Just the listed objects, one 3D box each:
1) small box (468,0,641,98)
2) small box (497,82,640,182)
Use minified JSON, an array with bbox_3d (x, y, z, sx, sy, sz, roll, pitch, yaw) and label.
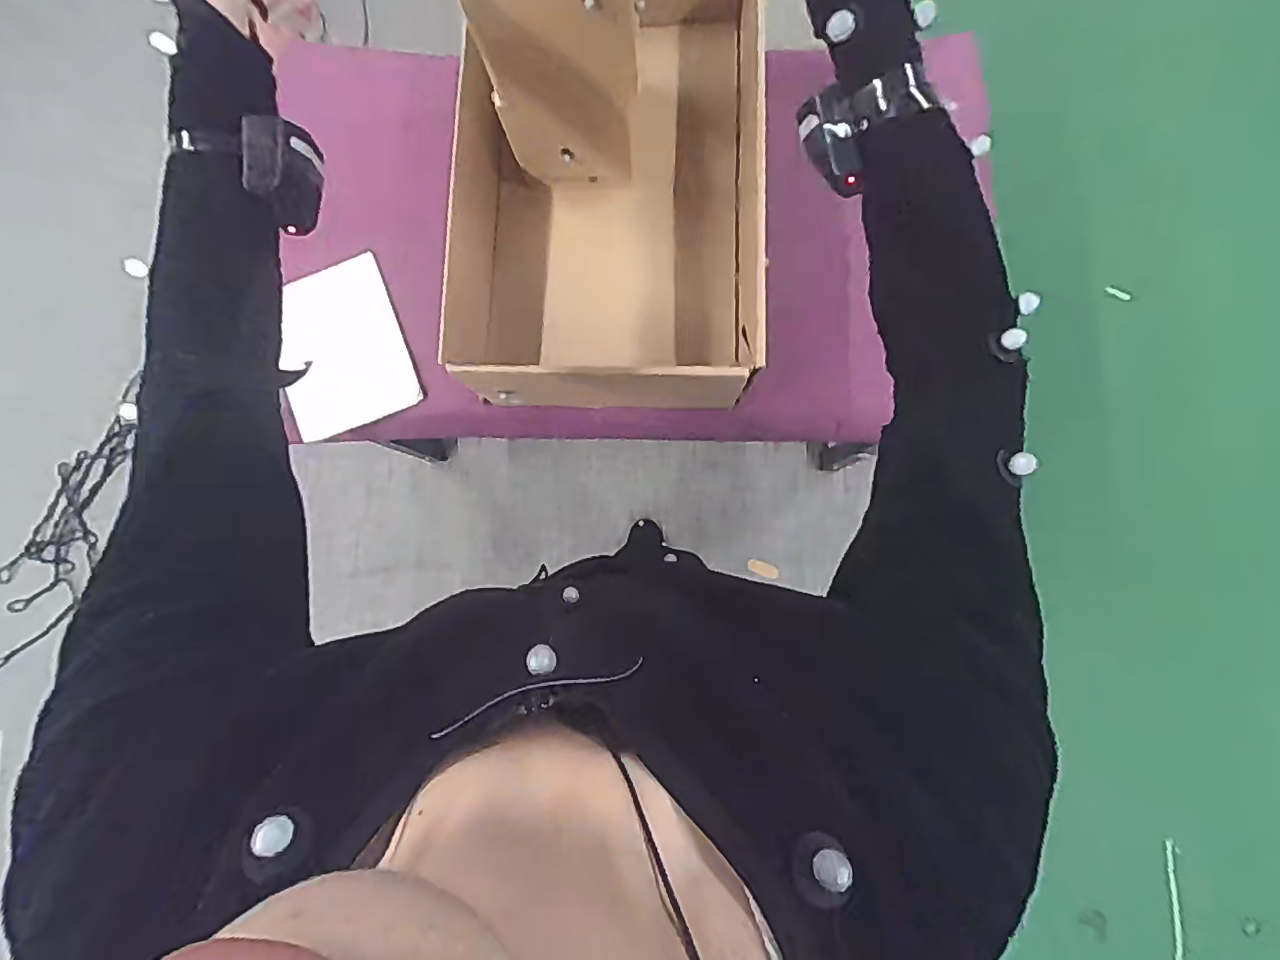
[{"bbox_3d":[-0.091,-0.553,0.588,0.179,0.176,0.168,-1,85,3],"label":"small box"},{"bbox_3d":[-0.088,-0.542,0.749,0.168,0.176,0.179,2,85,3],"label":"small box"}]
